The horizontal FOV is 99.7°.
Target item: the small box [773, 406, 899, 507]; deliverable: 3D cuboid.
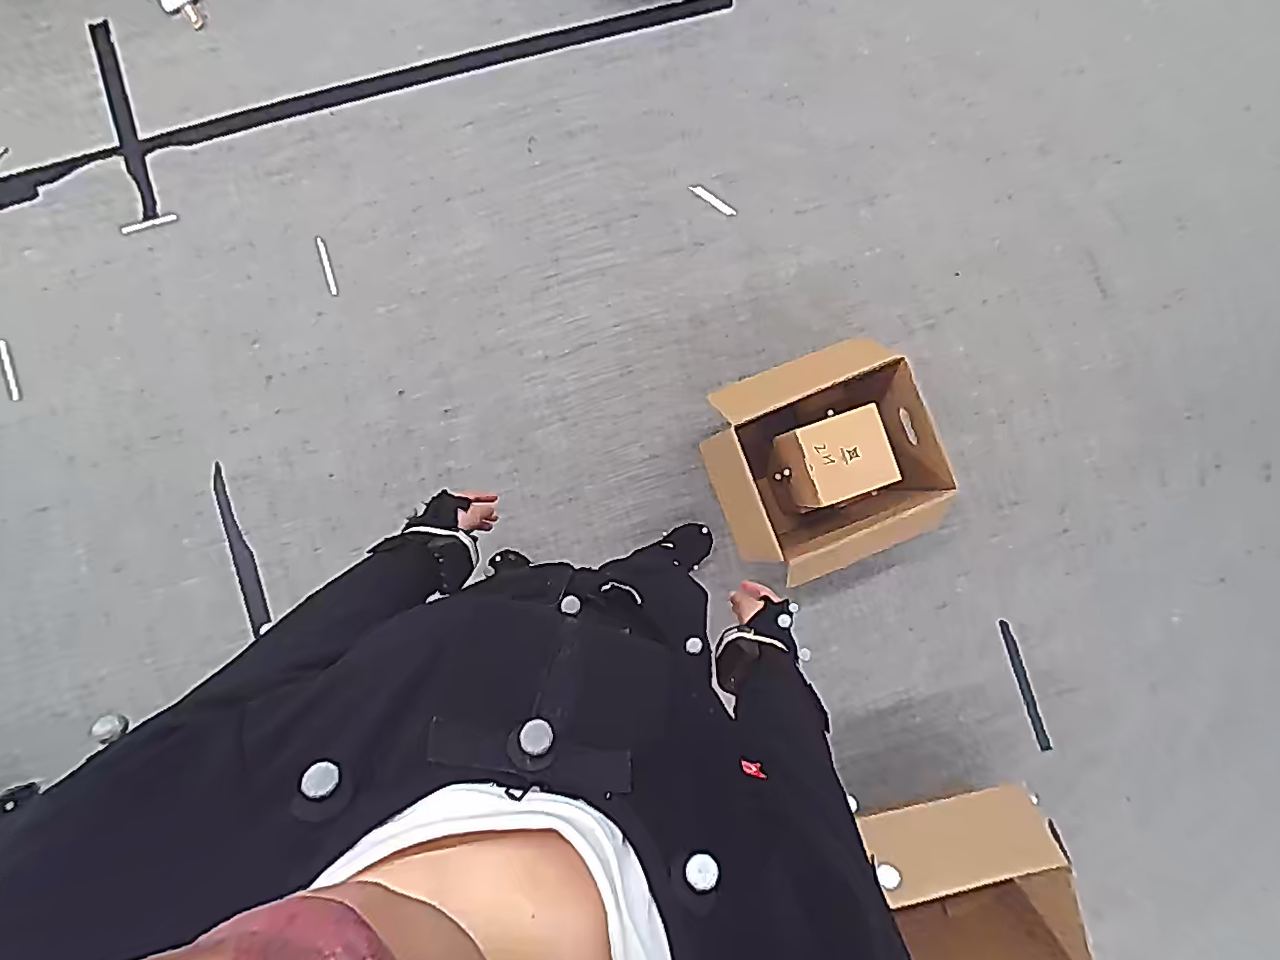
[{"bbox_3d":[0.412,-0.046,1.163,0.179,0.176,0.168,-19,88,-3],"label":"small box"}]
